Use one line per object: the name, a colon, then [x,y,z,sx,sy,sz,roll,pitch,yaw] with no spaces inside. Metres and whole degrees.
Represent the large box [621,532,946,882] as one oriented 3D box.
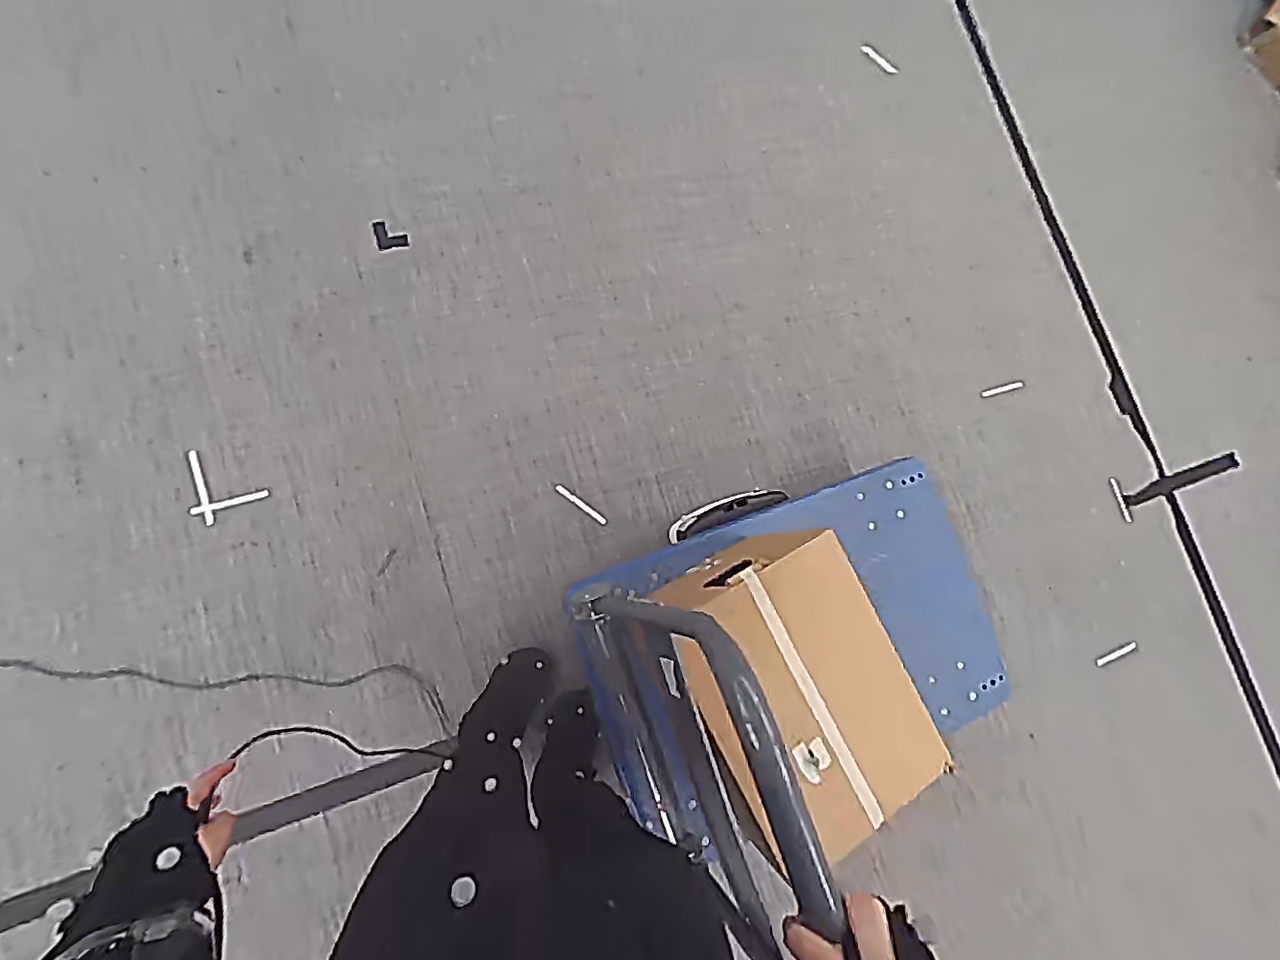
large box: [0.214,0.339,0.935,0.320,0.320,0.408,-27,89,-15]
